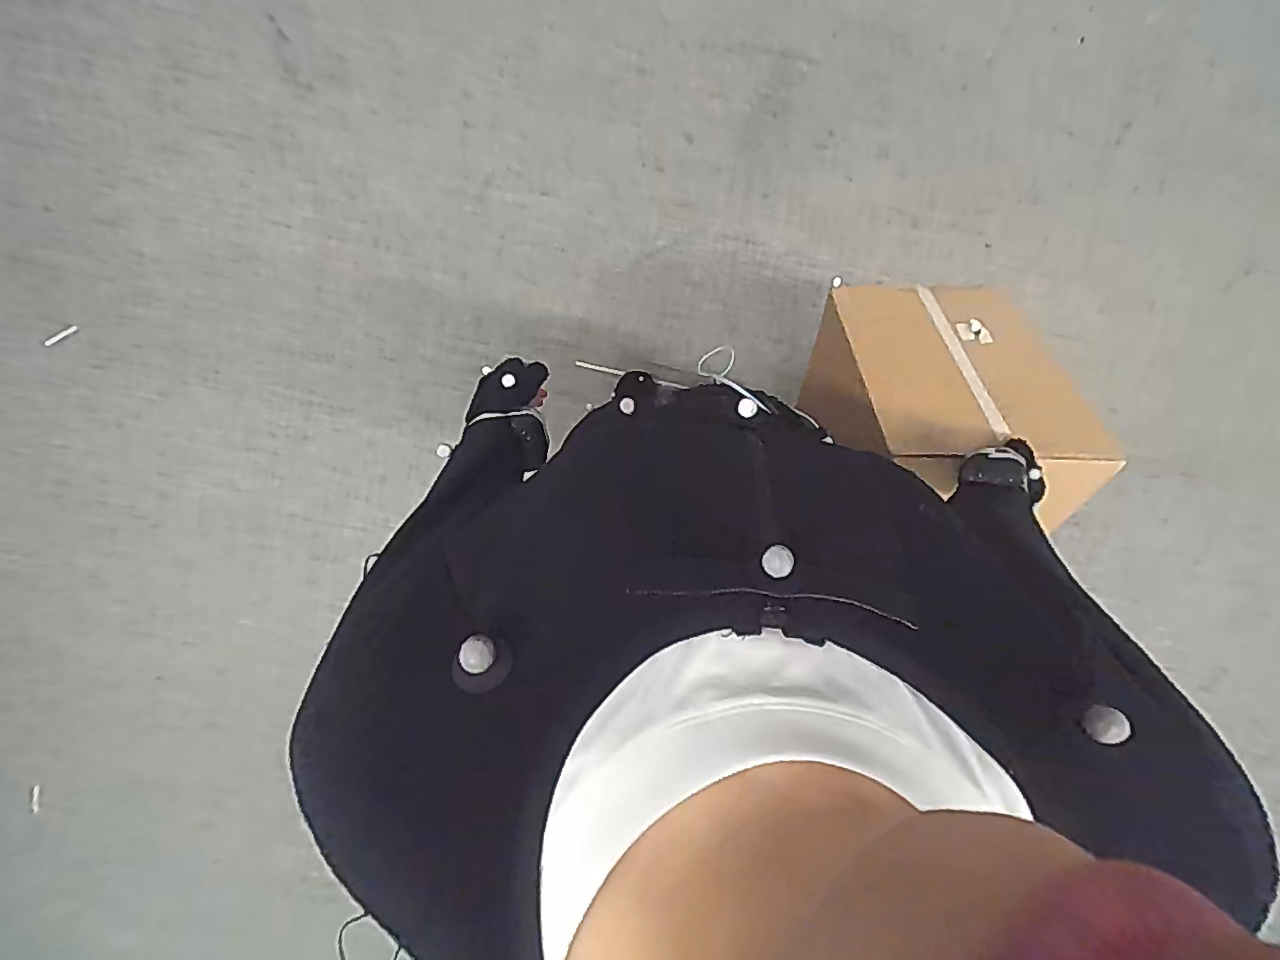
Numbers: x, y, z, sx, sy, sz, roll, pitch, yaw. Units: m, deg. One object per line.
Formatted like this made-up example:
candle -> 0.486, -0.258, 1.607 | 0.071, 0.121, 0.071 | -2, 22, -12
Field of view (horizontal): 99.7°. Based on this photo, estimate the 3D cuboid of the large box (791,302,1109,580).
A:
large box -> 0.482, -0.069, 0.964 | 0.320, 0.408, 0.320 | 2, 139, 0
